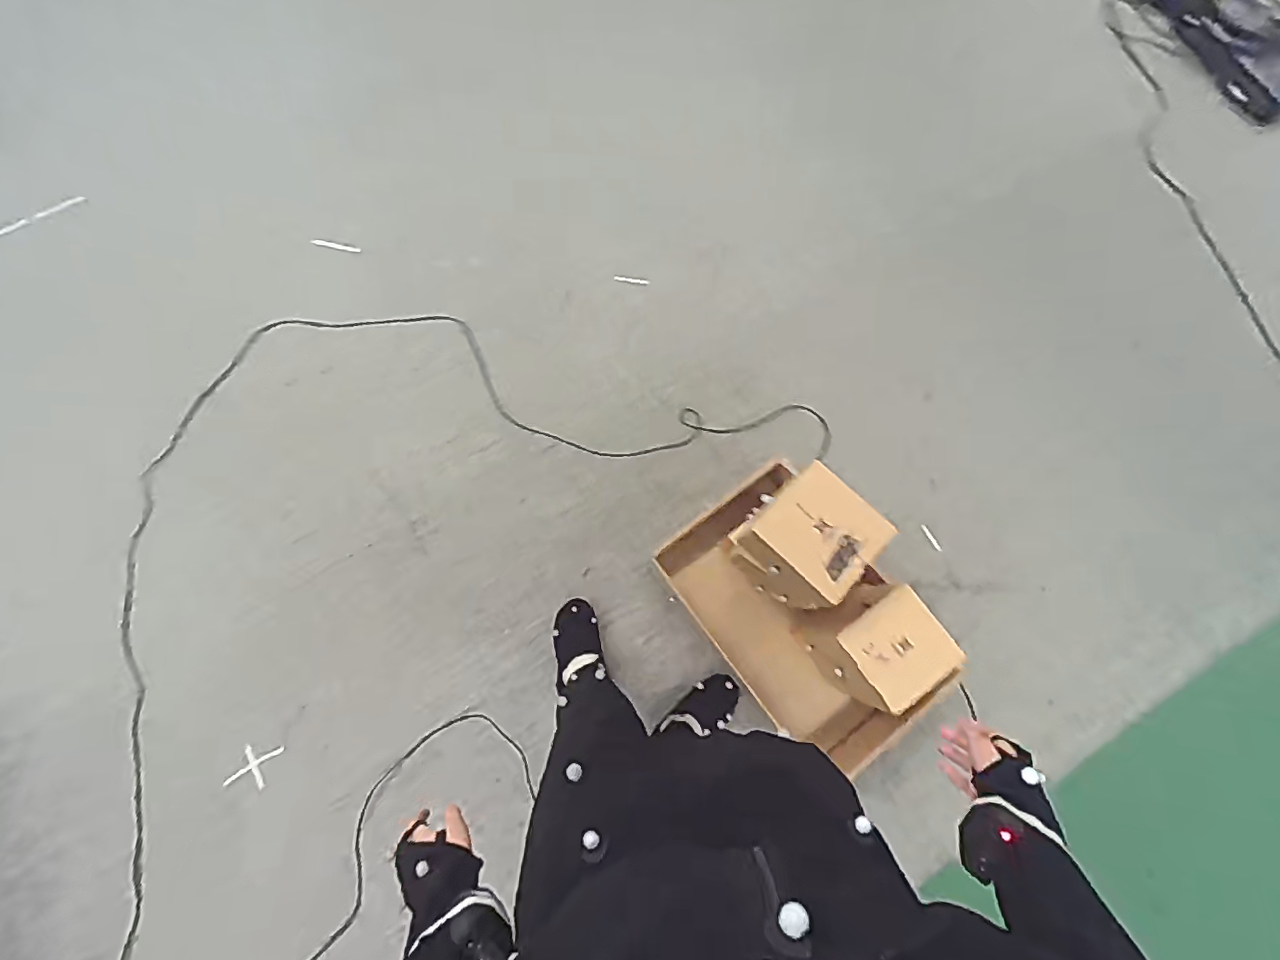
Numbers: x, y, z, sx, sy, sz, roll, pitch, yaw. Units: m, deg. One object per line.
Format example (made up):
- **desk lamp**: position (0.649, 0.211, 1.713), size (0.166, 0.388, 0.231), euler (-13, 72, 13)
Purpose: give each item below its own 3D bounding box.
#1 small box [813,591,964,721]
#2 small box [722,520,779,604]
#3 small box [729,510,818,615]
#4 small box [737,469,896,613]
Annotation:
- **small box**: position (0.472, 0.335, 1.058), size (0.179, 0.176, 0.168), euler (-34, 78, -8)
- **small box**: position (0.313, 0.174, 1.268), size (0.168, 0.176, 0.179), euler (-36, 81, -7)
- **small box**: position (0.305, 0.154, 1.106), size (0.179, 0.176, 0.168), euler (37, 80, 8)
- **small box**: position (0.296, 0.110, 0.948), size (0.179, 0.176, 0.168), euler (44, 81, 9)
